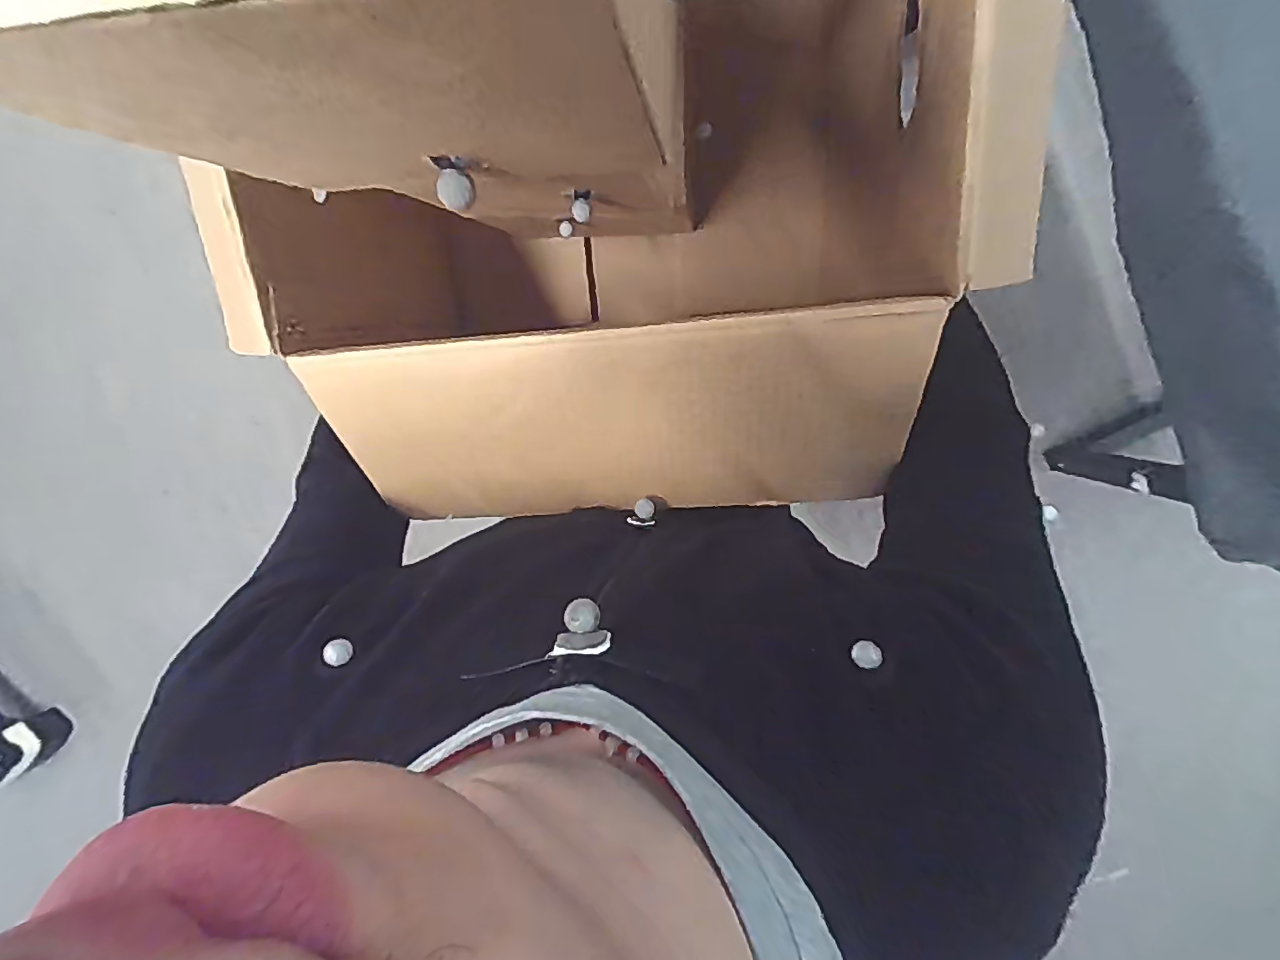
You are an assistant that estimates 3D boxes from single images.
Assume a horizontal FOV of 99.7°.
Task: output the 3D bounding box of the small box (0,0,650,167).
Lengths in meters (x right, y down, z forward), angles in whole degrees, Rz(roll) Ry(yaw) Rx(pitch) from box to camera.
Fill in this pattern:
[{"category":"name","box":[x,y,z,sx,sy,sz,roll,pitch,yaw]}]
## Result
[{"category":"small box","box":[-0.088,-0.195,0.144,0.179,0.176,0.168,1,109,7]}]
